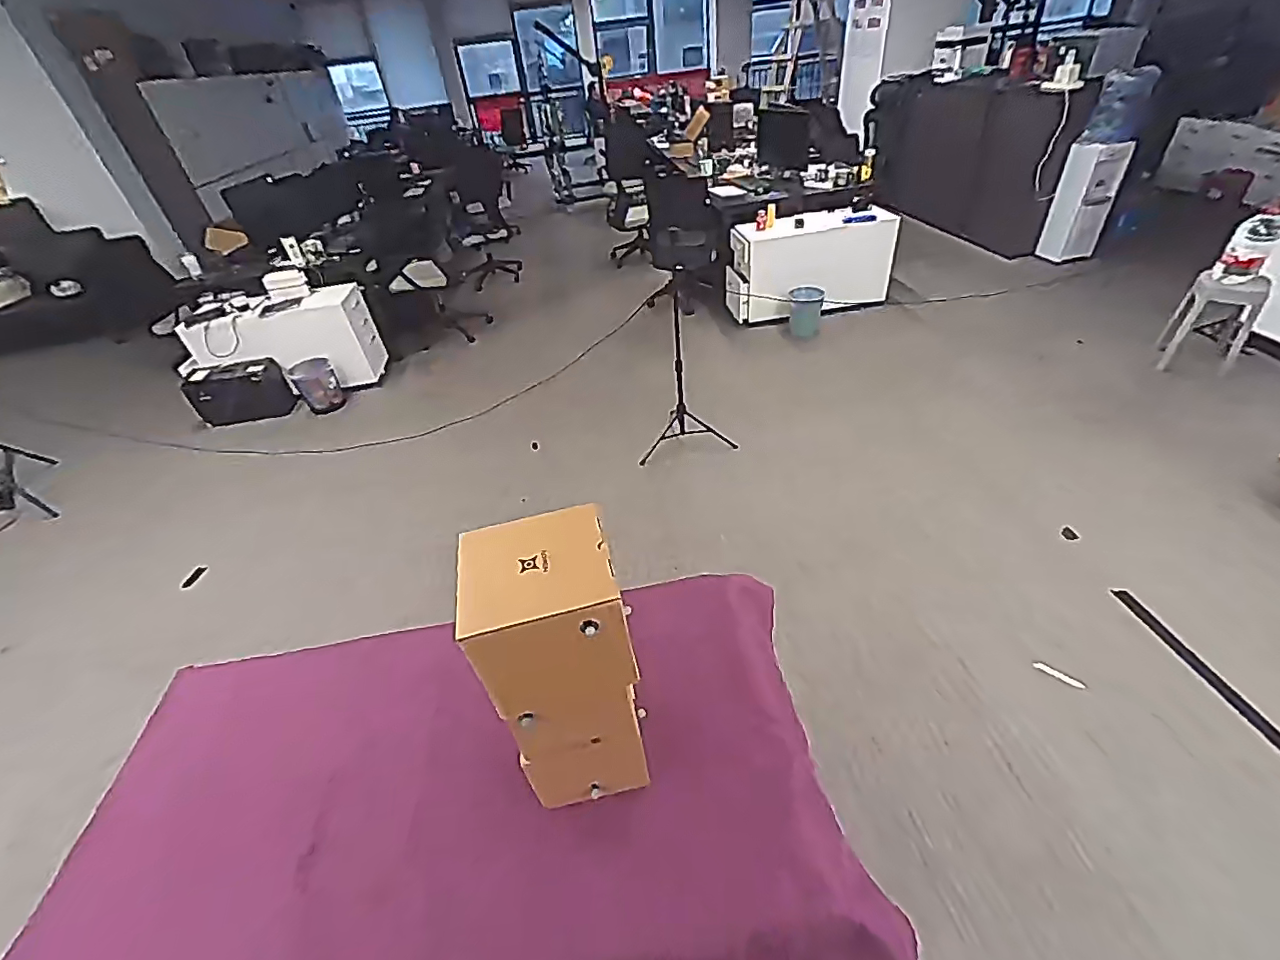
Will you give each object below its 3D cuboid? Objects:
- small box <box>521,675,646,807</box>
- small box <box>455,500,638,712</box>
[{"bbox_3d":[-0.089,0.400,0.880,0.179,0.176,0.168,-11,38,-5],"label":"small box"},{"bbox_3d":[-0.111,0.155,0.663,0.179,0.176,0.168,-13,39,-7],"label":"small box"}]
